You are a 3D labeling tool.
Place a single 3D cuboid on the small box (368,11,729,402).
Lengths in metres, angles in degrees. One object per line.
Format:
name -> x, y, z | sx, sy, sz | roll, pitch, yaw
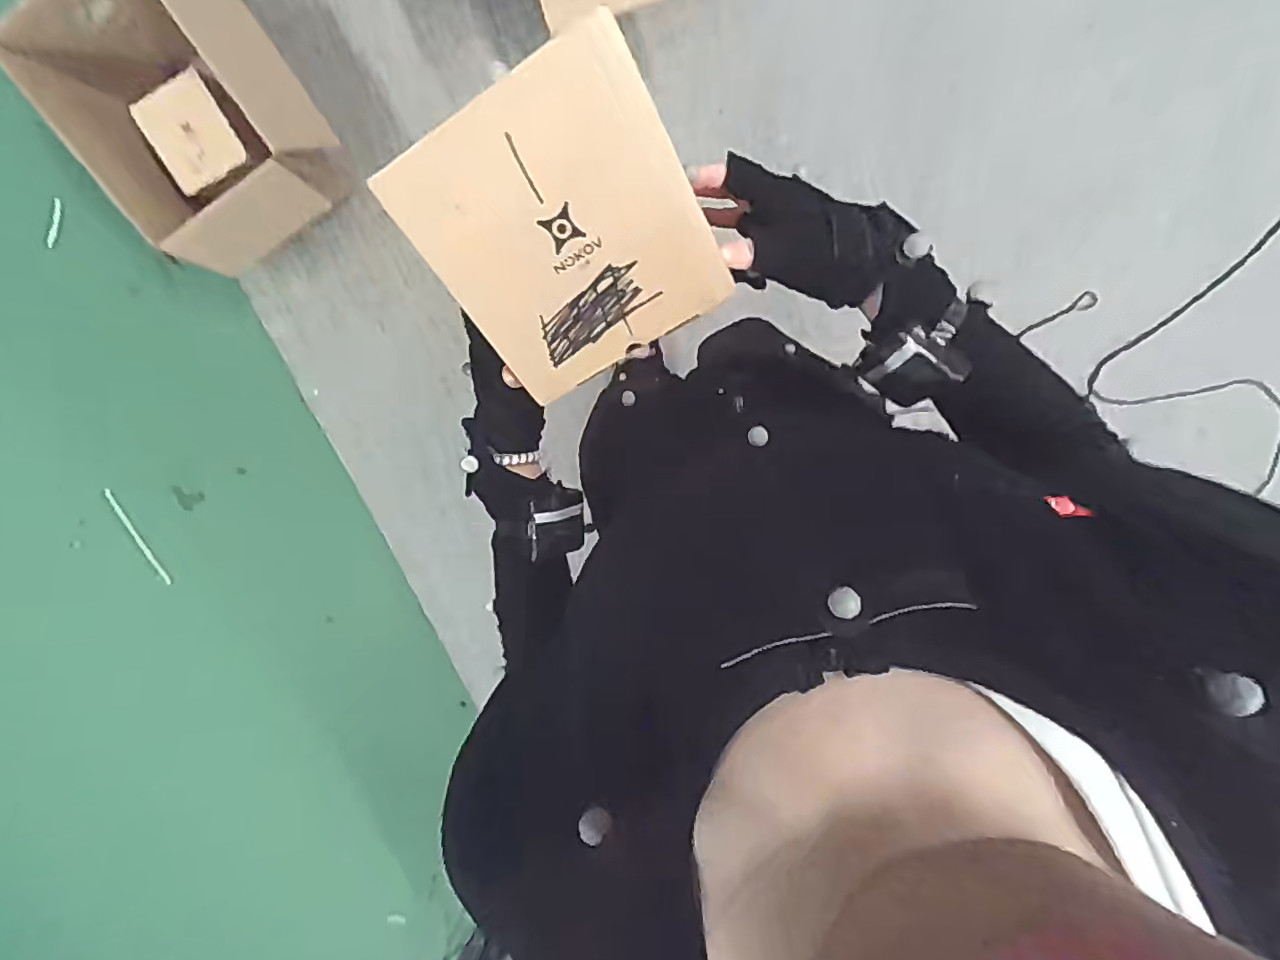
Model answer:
small box -> -0.054, -0.196, 0.405 | 0.168, 0.176, 0.179 | -27, 123, 11
